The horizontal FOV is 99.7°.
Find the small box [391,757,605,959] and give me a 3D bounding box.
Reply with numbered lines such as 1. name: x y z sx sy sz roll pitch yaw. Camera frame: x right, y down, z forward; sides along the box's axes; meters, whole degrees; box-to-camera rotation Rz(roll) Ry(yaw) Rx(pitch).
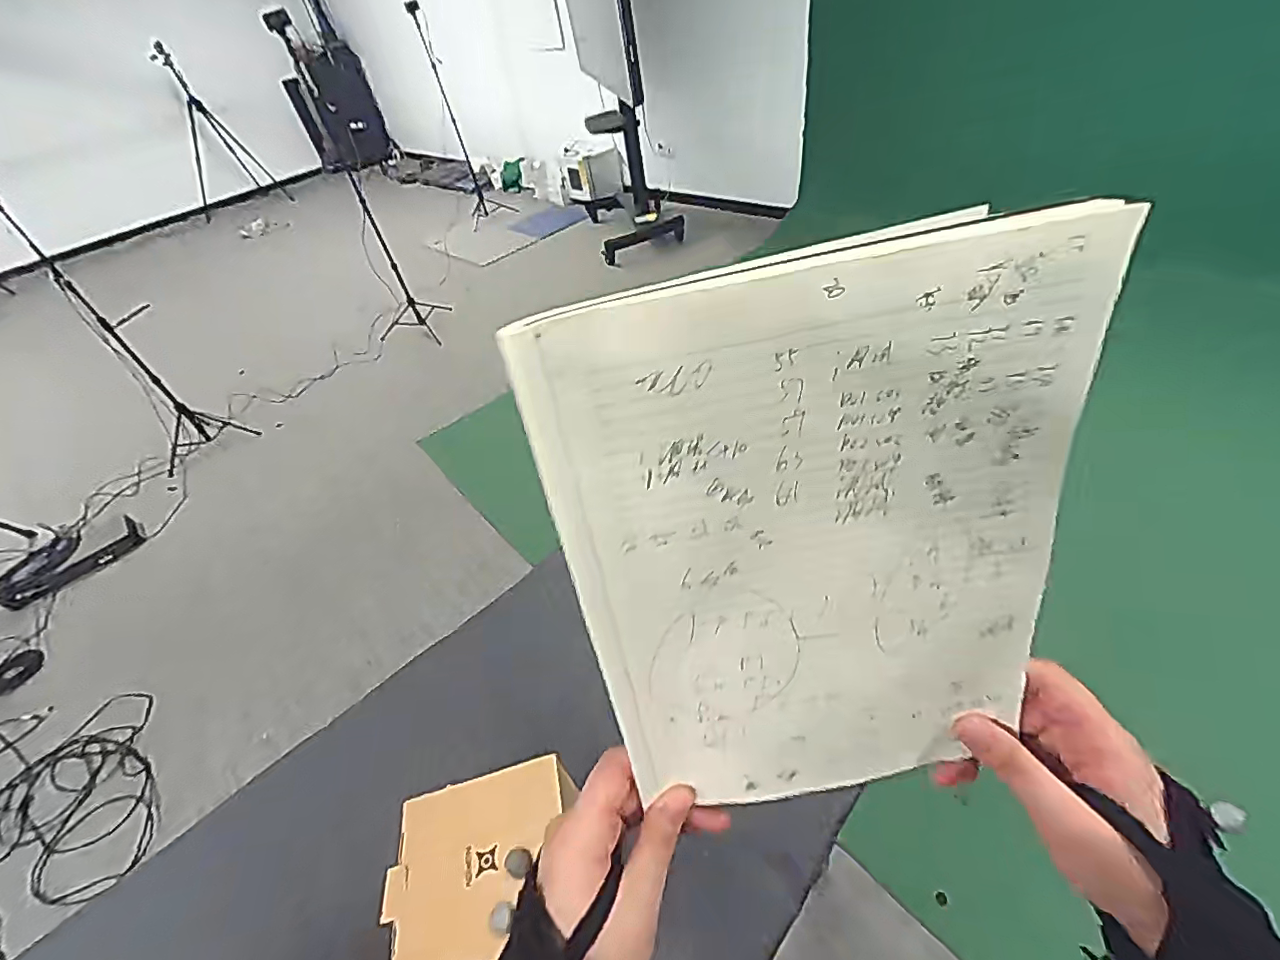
1. small box: -0.143 0.437 0.587 0.179 0.176 0.168 -17 43 -4
